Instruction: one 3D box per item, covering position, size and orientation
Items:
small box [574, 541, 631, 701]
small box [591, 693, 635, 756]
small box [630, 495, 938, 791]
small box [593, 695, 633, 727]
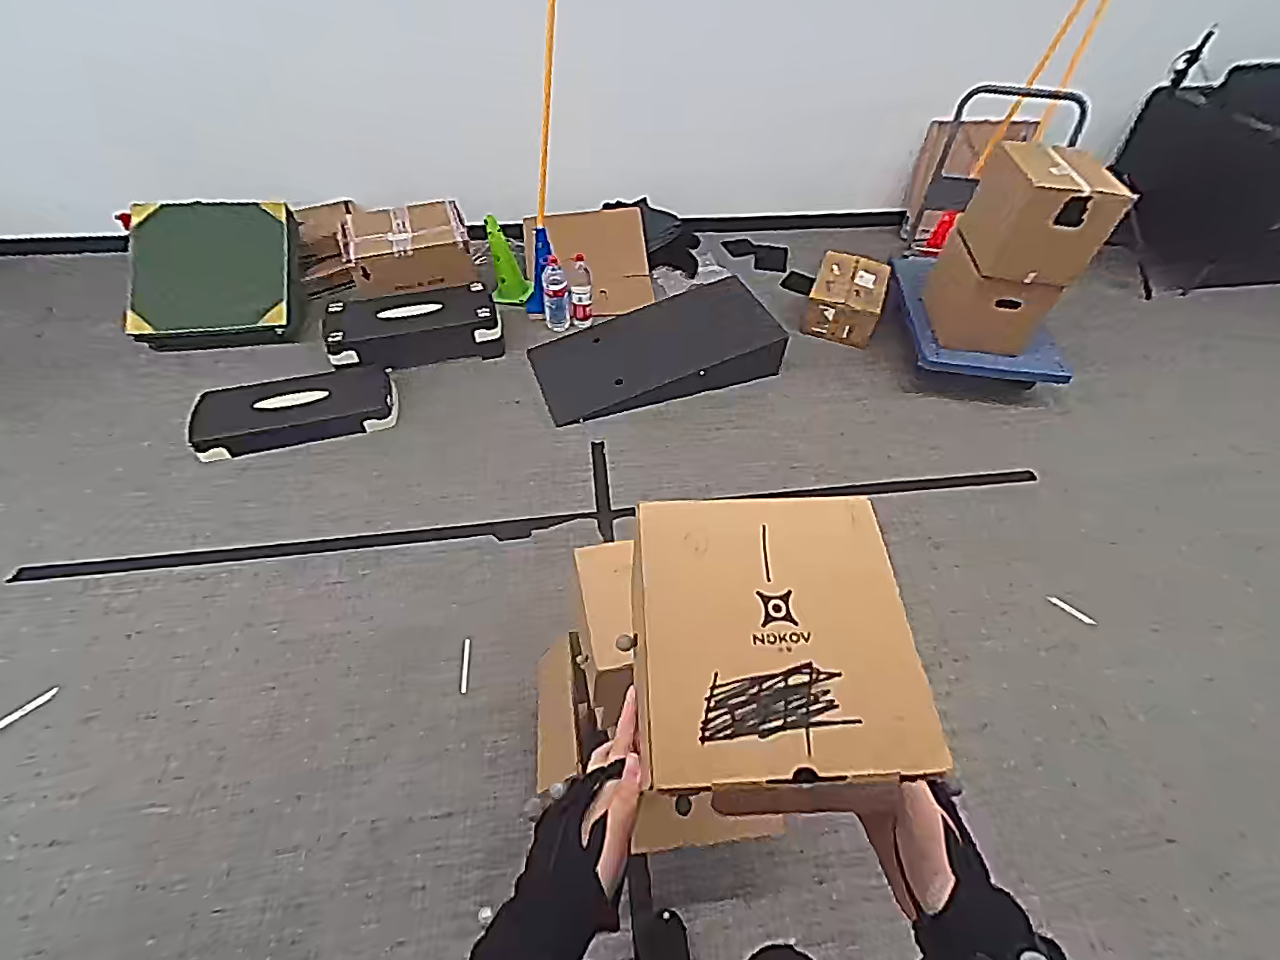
[{"bbox_3d":[-0.001,0.203,0.775,0.168,0.176,0.179,-7,54,-13],"label":"small box"},{"bbox_3d":[-0.003,0.475,1.187,0.179,0.176,0.168,-20,58,-21],"label":"small box"},{"bbox_3d":[0.078,0.128,0.403,0.168,0.176,0.179,-1,59,-4],"label":"small box"},{"bbox_3d":[0.002,0.298,0.909,0.179,0.176,0.168,-8,56,-13],"label":"small box"}]
